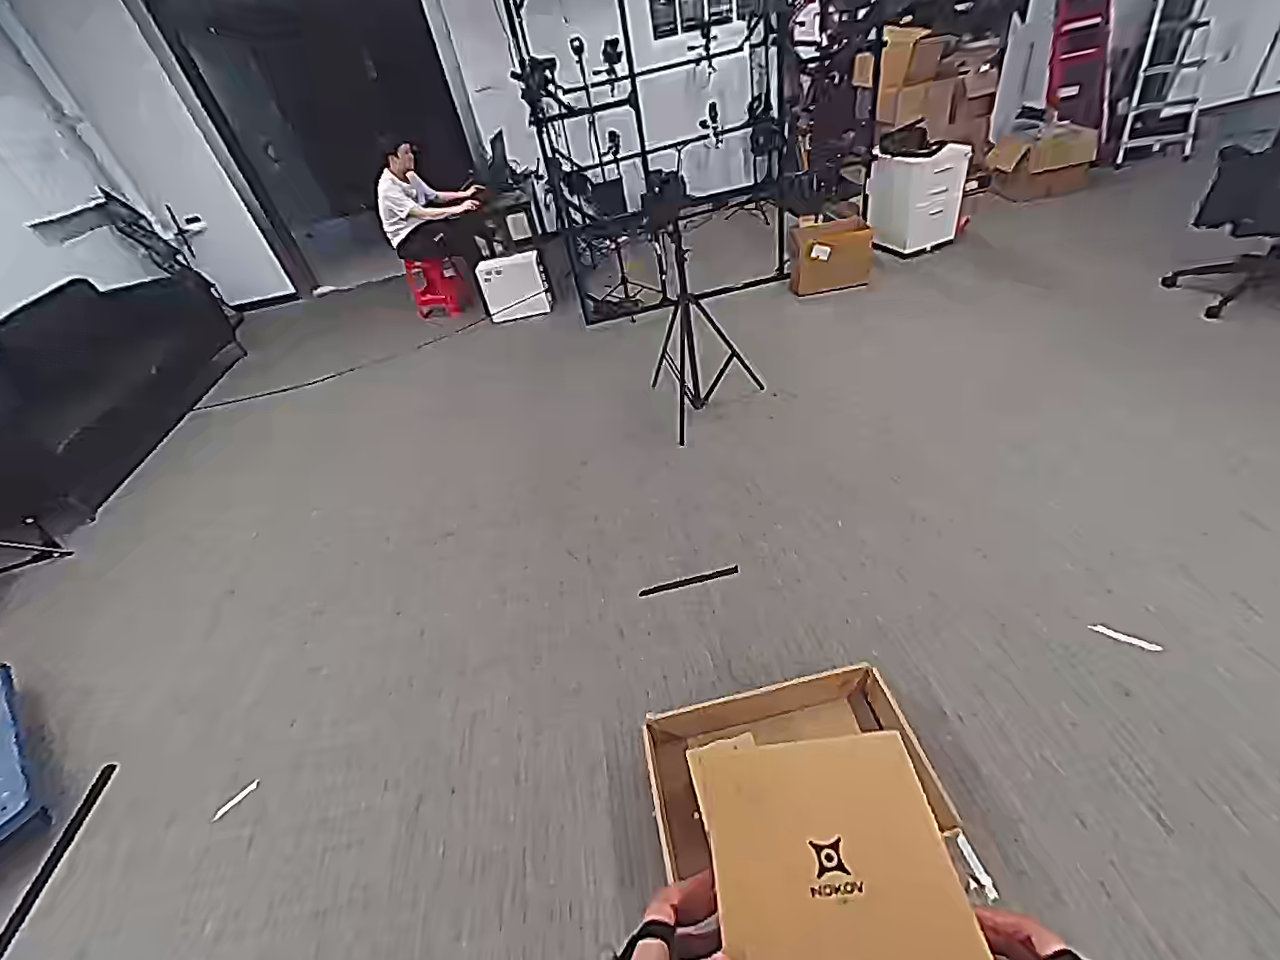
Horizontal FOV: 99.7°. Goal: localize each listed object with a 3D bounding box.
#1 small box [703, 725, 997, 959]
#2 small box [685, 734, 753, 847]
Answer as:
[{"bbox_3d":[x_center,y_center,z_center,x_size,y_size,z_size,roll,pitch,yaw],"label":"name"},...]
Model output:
[{"bbox_3d":[0.145,0.326,0.431,0.168,0.176,0.179,-9,40,3],"label":"small box"},{"bbox_3d":[0.213,0.735,1.266,0.168,0.176,0.179,-14,39,-3],"label":"small box"}]
